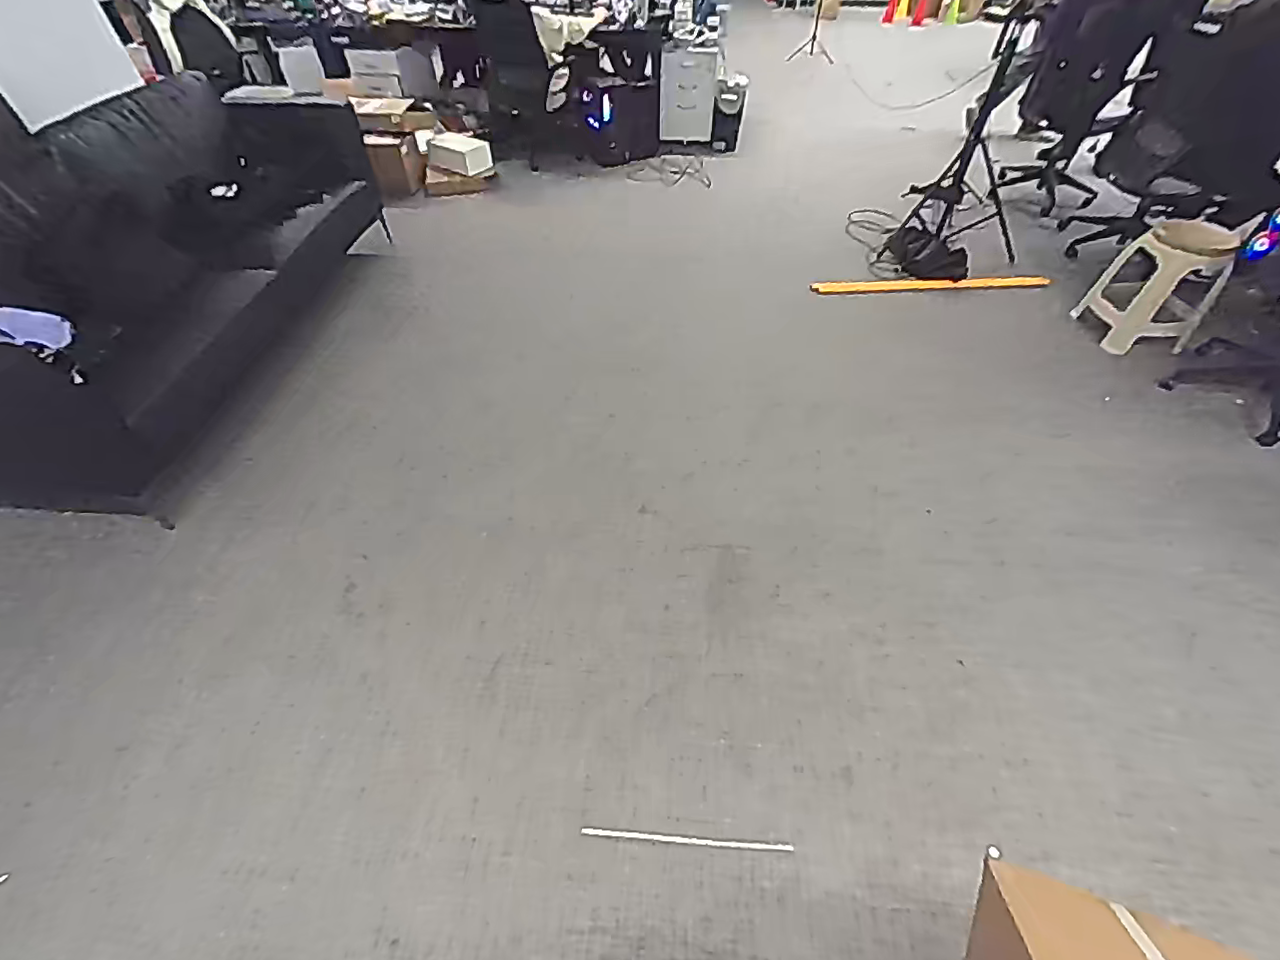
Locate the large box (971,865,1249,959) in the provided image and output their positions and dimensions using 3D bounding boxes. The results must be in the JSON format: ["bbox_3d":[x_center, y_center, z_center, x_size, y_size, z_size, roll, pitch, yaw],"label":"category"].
[{"bbox_3d":[0.566,0.733,0.566,0.320,0.408,0.320,13,91,19],"label":"large box"}]
